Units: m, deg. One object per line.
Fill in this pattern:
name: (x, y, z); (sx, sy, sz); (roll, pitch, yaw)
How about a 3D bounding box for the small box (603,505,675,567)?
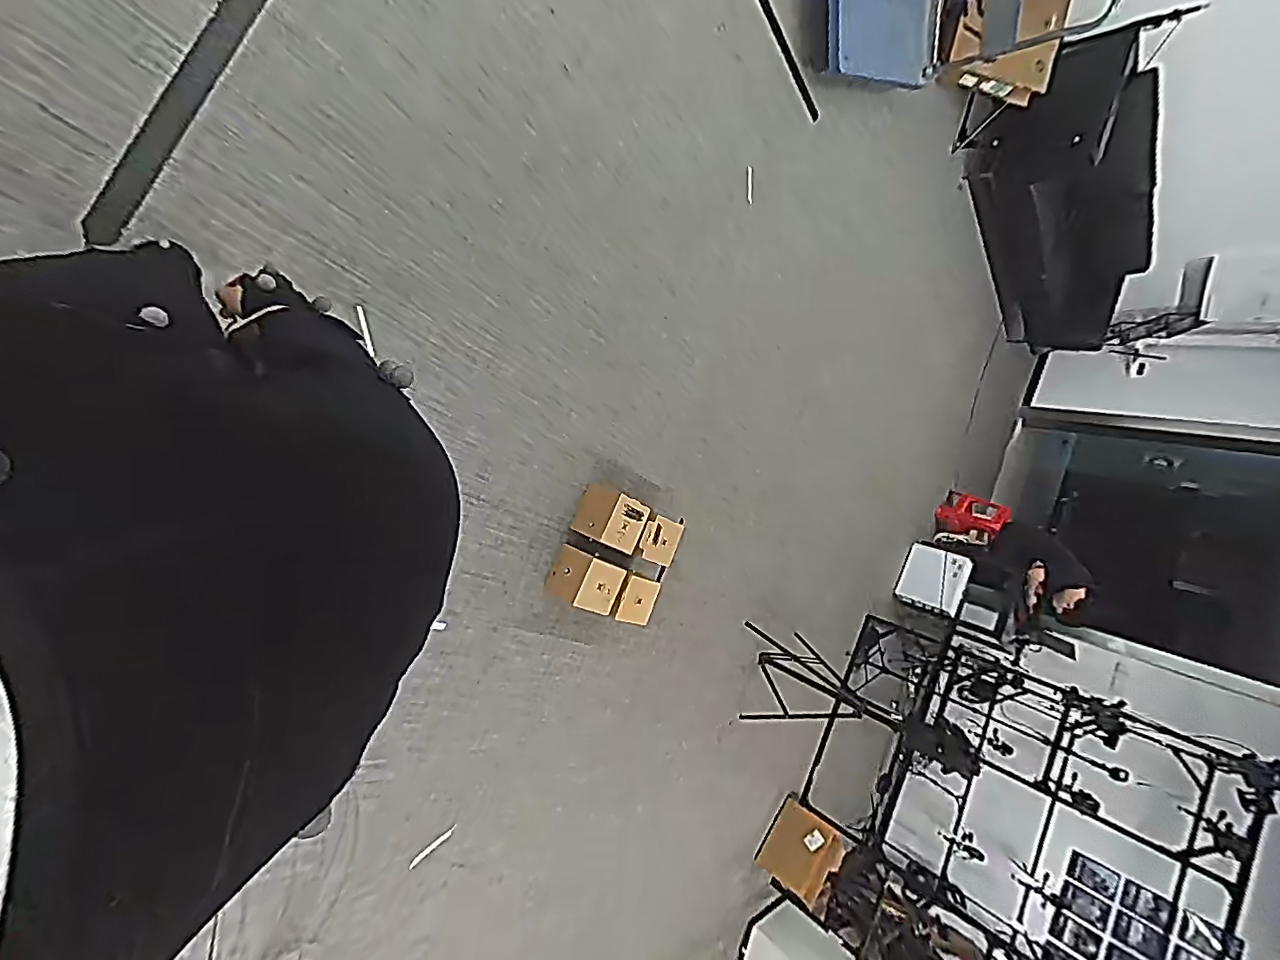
small box: (-0.007, 0.203, 2.005); (0.179, 0.176, 0.168); (30, 81, -48)
